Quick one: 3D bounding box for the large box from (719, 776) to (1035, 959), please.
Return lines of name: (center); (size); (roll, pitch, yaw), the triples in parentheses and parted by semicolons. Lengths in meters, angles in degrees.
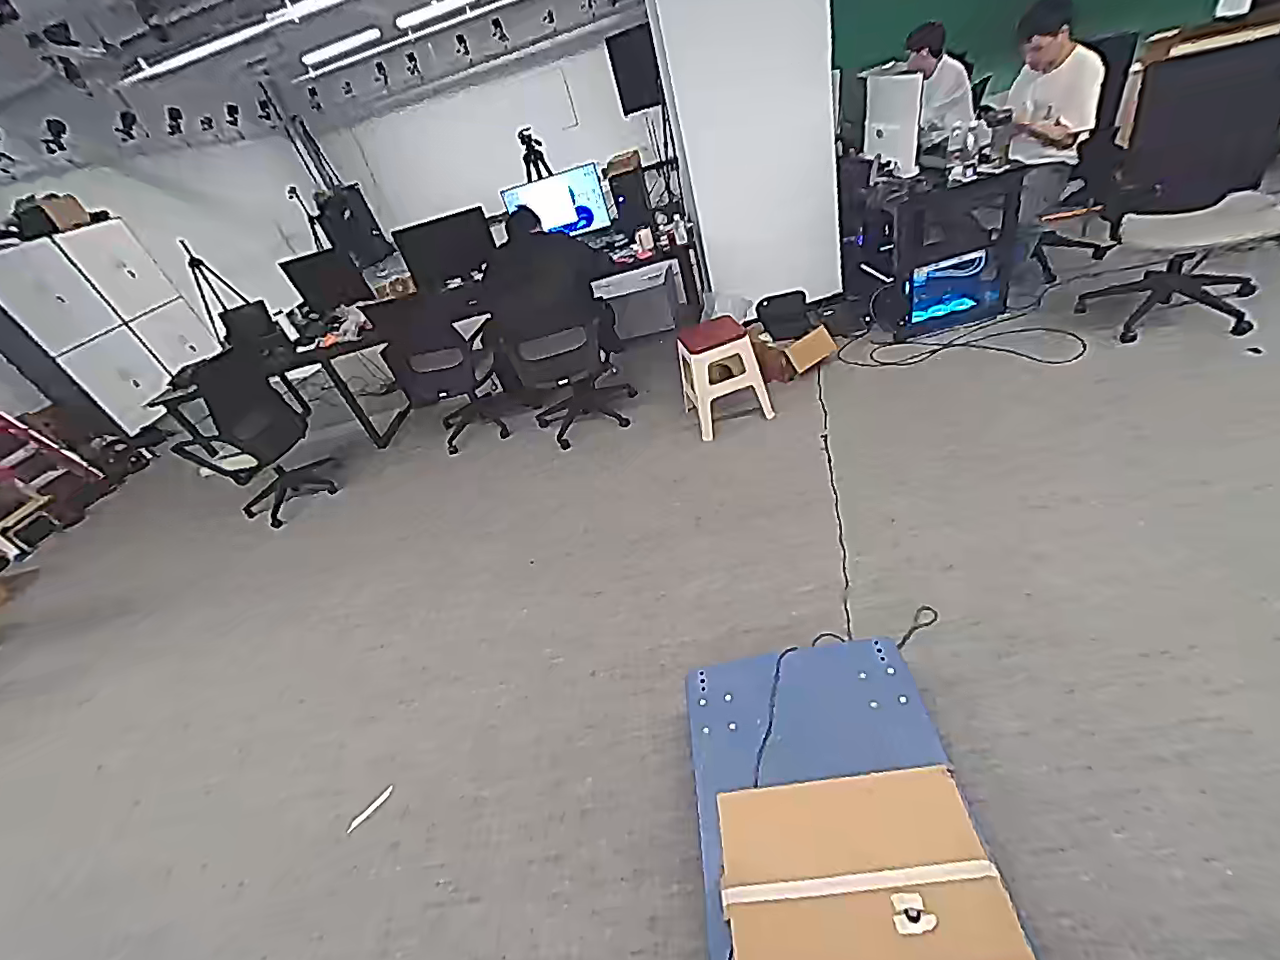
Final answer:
large box: (0.369, 0.746, 0.898); (0.408, 0.320, 0.320); (-12, 36, 8)
